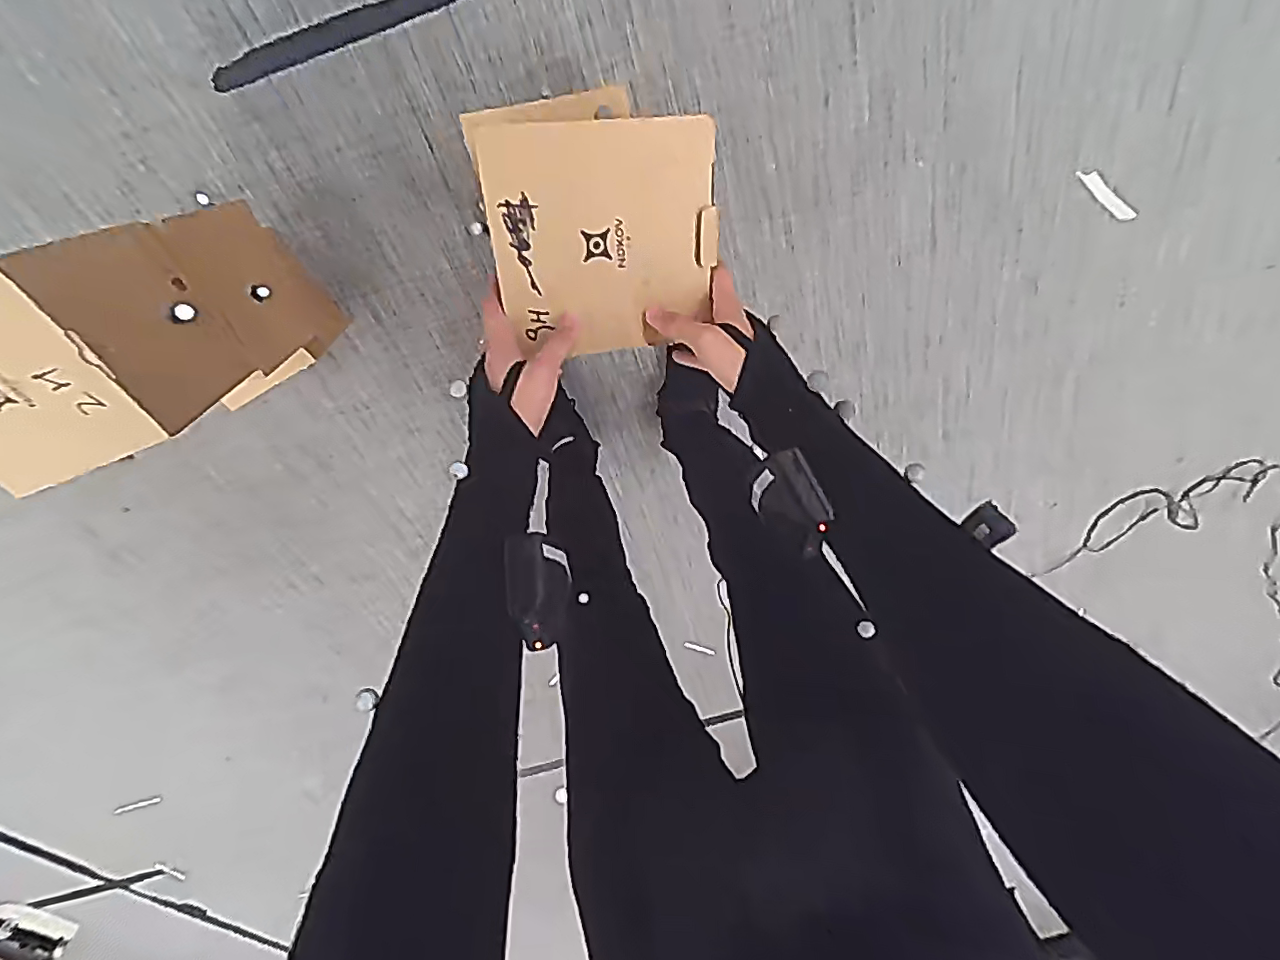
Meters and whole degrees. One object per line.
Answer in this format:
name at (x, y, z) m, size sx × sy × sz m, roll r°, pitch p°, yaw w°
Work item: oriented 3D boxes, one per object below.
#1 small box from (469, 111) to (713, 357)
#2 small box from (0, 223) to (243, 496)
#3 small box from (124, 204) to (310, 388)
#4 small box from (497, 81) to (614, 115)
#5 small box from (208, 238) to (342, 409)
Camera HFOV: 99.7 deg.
small box at (-0.047, -0.219, 0.478) m, size 0.179 × 0.176 × 0.168 m, roll -10°, pitch 119°, yaw -10°
small box at (-0.536, -0.118, 0.508) m, size 0.179 × 0.176 × 0.168 m, roll -20°, pitch 124°, yaw 6°
small box at (-0.540, -0.213, 0.642) m, size 0.168 × 0.176 × 0.179 m, roll -14°, pitch 125°, yaw 2°
small box at (-0.112, -0.433, 0.759) m, size 0.179 × 0.176 × 0.168 m, roll -17°, pitch 125°, yaw 2°
small box at (-0.595, -0.244, 0.812) m, size 0.168 × 0.176 × 0.179 m, roll -26°, pitch 124°, yaw 10°
